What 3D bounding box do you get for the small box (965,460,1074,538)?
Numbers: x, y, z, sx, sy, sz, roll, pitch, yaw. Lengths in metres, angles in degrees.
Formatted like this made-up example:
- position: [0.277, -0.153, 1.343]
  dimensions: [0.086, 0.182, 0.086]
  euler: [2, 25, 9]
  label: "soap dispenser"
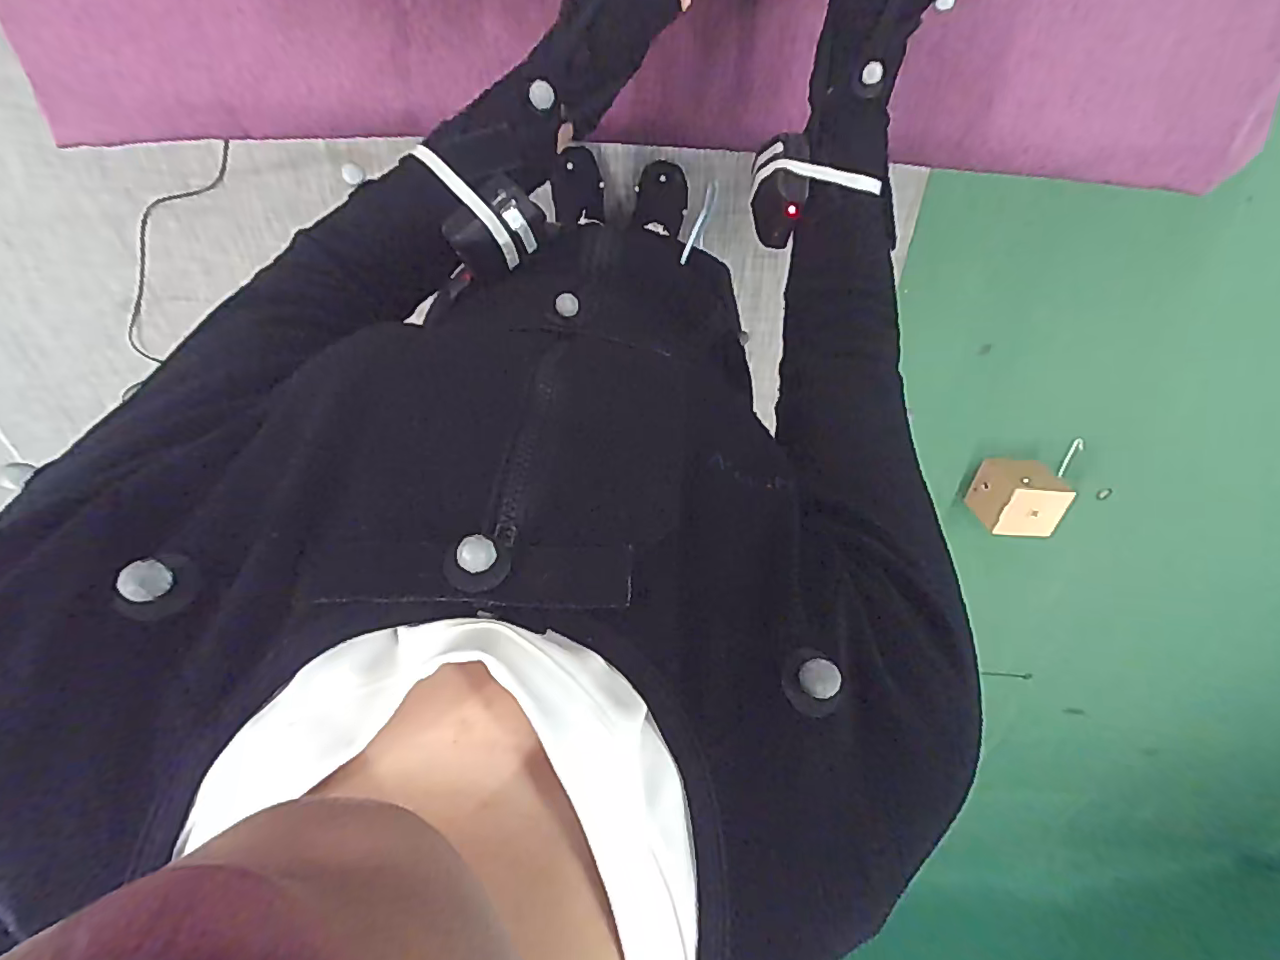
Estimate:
- position: [1.120, 0.052, 1.611]
  dimensions: [0.179, 0.176, 0.168]
  euler: [4, 124, -2]
  label: "small box"
